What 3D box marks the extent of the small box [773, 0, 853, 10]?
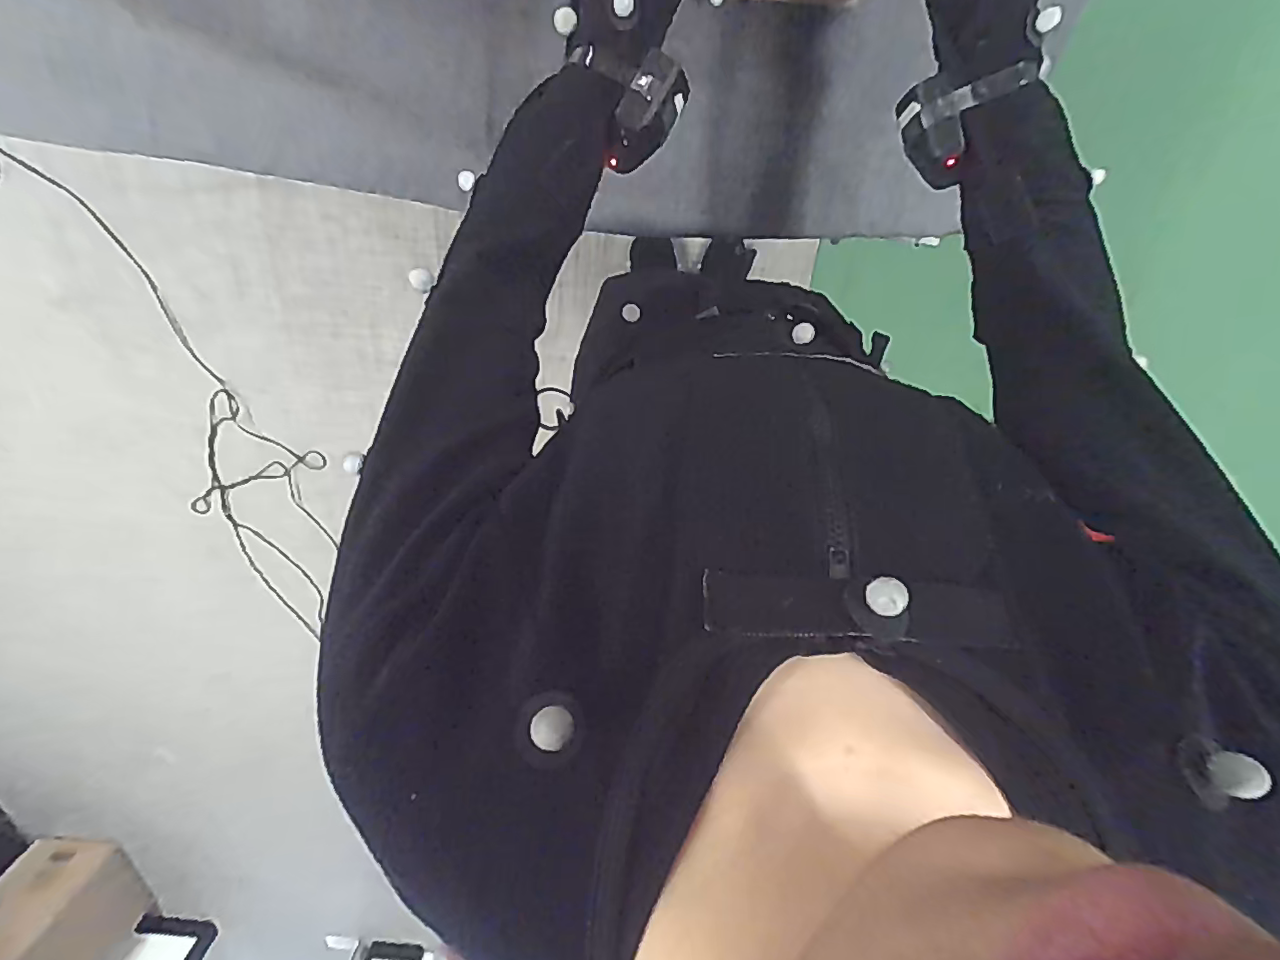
[{"bbox_3d":[0.123,-0.495,0.410,0.168,0.176,0.179,5,116,1],"label":"small box"}]
